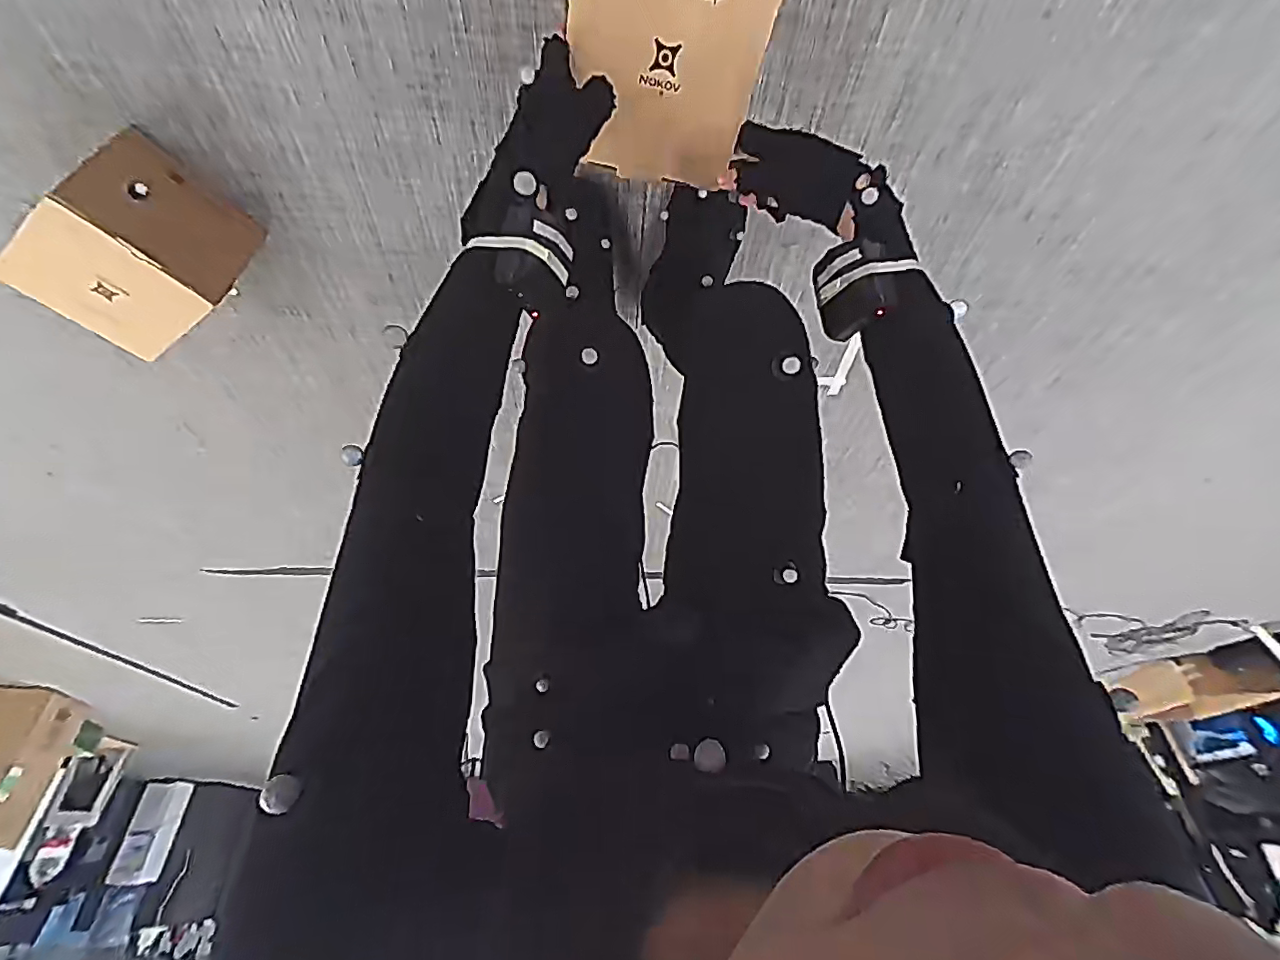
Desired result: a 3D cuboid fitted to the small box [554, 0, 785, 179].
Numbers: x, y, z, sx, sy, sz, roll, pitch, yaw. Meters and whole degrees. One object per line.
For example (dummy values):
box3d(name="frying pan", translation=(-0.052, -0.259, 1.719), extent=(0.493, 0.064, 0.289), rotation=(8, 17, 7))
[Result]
box3d(name="small box", translation=(0.019, -0.417, 0.491), extent=(0.168, 0.176, 0.179), rotation=(7, 141, -12))

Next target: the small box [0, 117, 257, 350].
box3d(name="small box", translation=(-0.626, -0.306, 0.679), extent=(0.179, 0.176, 0.168), rotation=(-20, 140, 26))
